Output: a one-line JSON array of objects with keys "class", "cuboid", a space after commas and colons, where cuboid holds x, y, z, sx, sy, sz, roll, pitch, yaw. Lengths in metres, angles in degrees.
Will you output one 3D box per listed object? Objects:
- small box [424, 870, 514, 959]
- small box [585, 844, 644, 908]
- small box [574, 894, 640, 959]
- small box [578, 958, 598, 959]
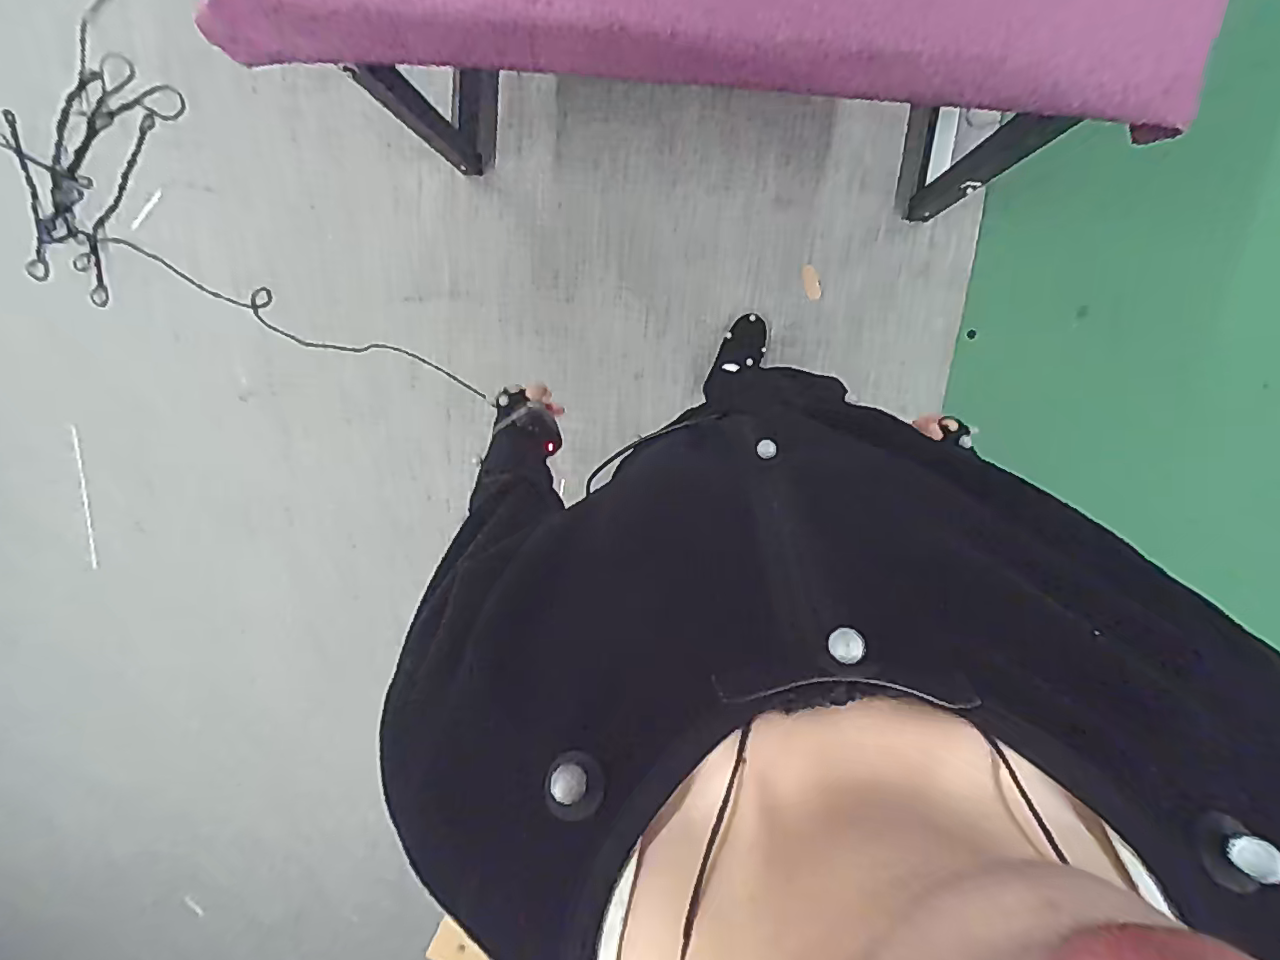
[{"class": "small box", "cuboid": [-0.480, 1.279, 1.543, 0.168, 0.176, 0.179, 26, 102, 0]}, {"class": "small box", "cuboid": [-0.079, 1.274, 1.678, 0.168, 0.176, 0.179, 4, 102, 4]}, {"class": "small box", "cuboid": [-0.092, 1.312, 1.518, 0.168, 0.176, 0.179, 4, 102, 5]}, {"class": "small box", "cuboid": [-0.098, 1.356, 1.359, 0.179, 0.176, 0.168, 3, 102, 5]}]
